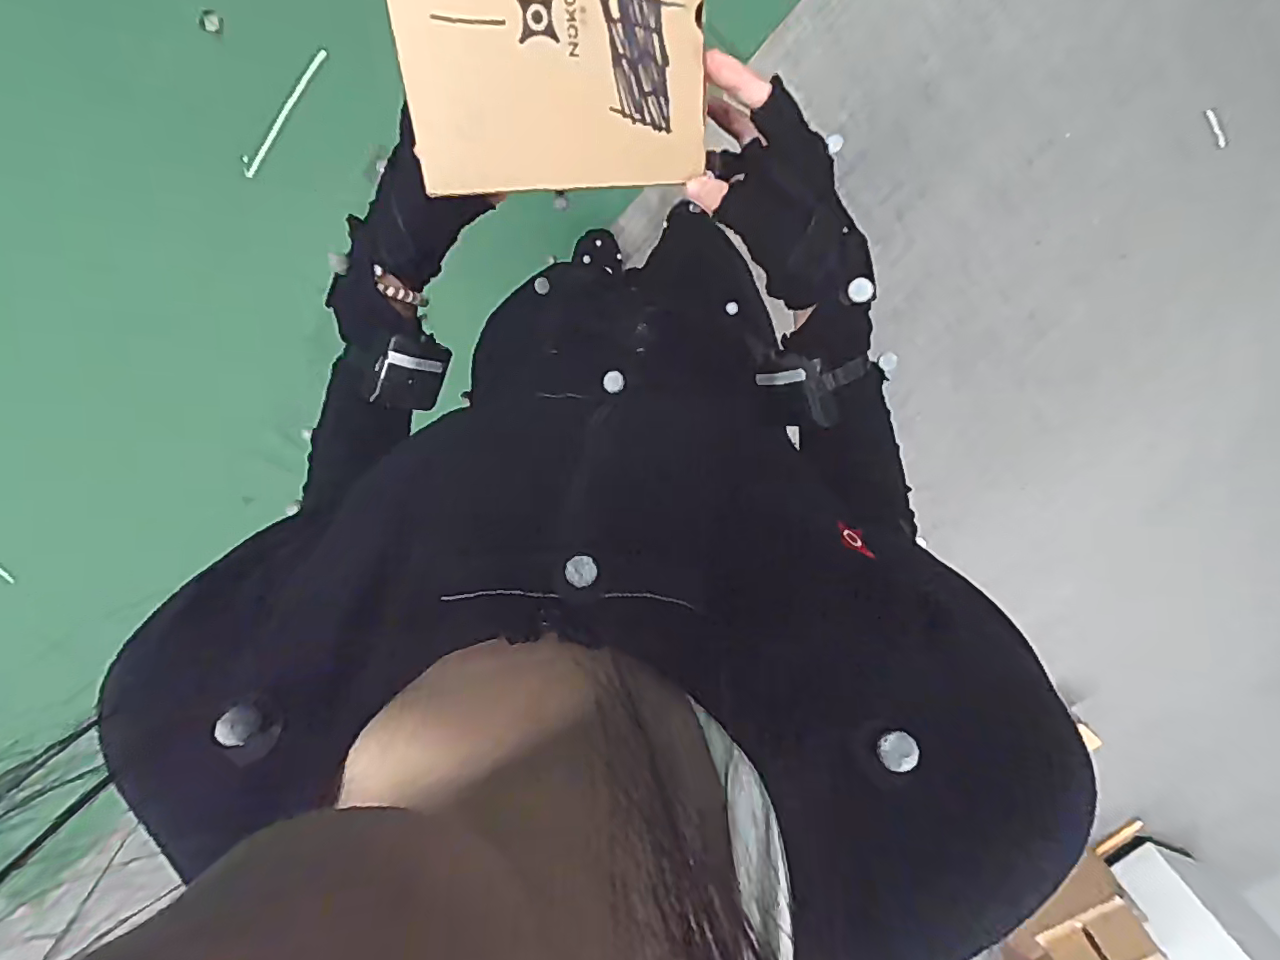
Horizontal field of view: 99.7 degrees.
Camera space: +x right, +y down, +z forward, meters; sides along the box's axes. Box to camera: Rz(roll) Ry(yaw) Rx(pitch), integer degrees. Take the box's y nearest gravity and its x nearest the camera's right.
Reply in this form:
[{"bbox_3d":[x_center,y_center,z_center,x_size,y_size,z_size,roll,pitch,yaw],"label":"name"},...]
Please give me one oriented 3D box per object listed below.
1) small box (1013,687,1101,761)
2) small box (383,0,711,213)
[{"bbox_3d":[1.585,0.926,2.062,0.179,0.176,0.168,38,109,-20],"label":"small box"},{"bbox_3d":[-0.054,-0.279,0.363,0.179,0.176,0.168,-5,119,-3],"label":"small box"}]
